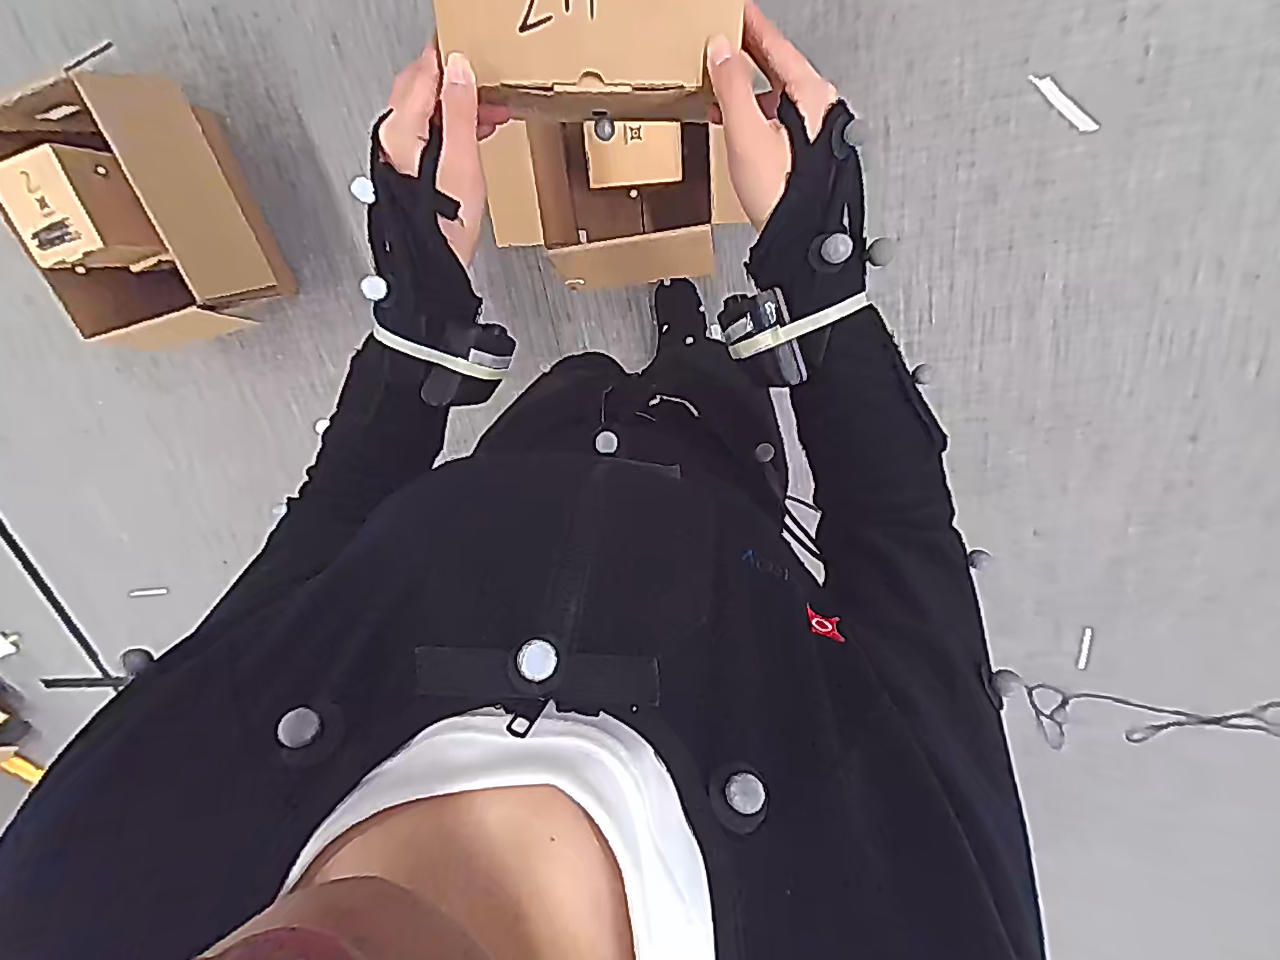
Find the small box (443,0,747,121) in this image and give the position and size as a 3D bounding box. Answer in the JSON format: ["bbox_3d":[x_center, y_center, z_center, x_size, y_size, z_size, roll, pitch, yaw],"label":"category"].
[{"bbox_3d":[-0.024,-0.338,0.336,0.168,0.176,0.179,0,119,1],"label":"small box"}]
